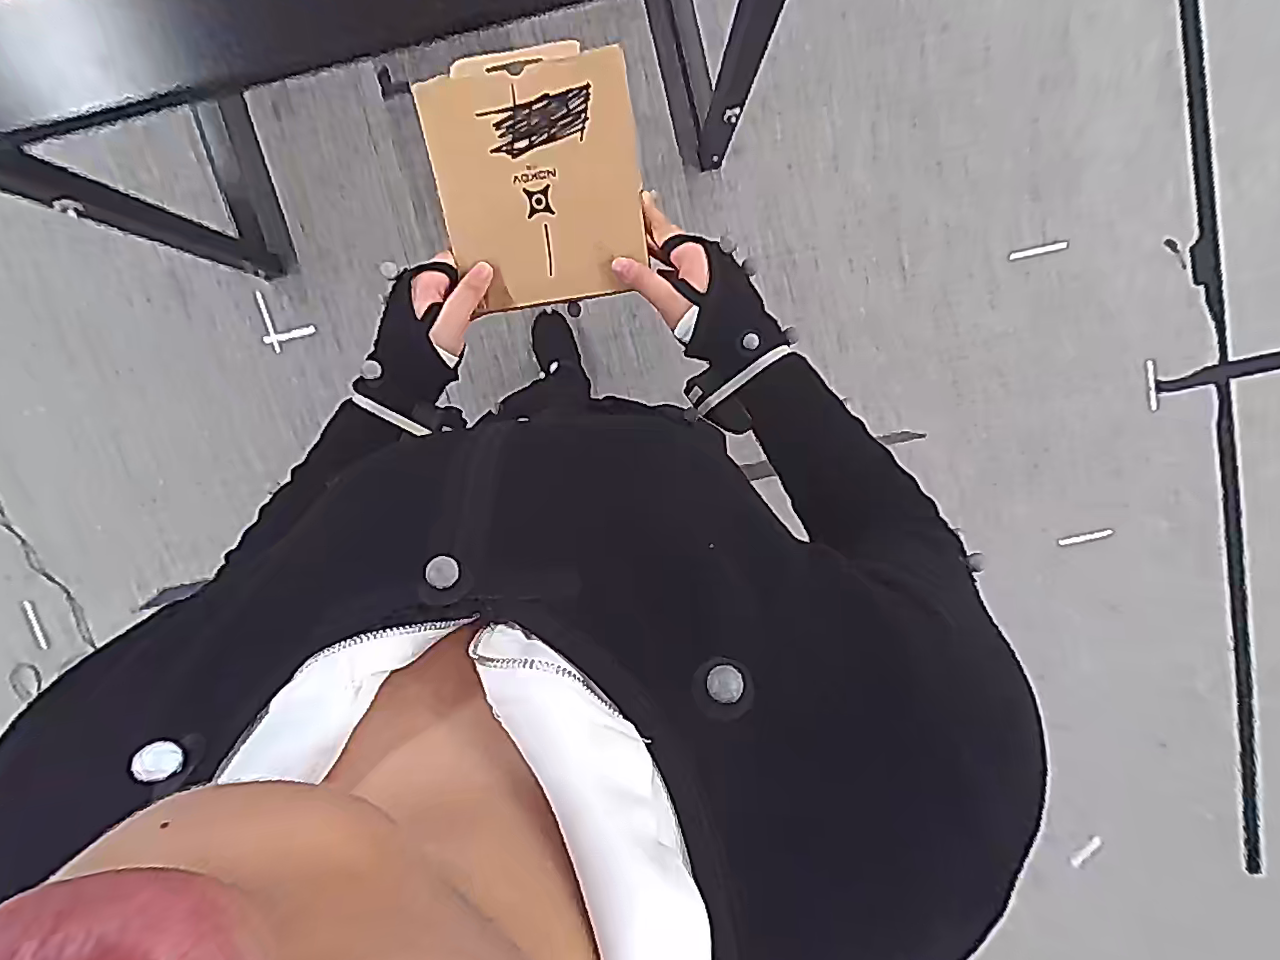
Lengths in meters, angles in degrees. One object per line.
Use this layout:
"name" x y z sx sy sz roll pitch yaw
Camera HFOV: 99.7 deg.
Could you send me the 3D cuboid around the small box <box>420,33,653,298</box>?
"small box" -0.079 -0.274 0.515 0.168 0.176 0.179 -7 109 5
